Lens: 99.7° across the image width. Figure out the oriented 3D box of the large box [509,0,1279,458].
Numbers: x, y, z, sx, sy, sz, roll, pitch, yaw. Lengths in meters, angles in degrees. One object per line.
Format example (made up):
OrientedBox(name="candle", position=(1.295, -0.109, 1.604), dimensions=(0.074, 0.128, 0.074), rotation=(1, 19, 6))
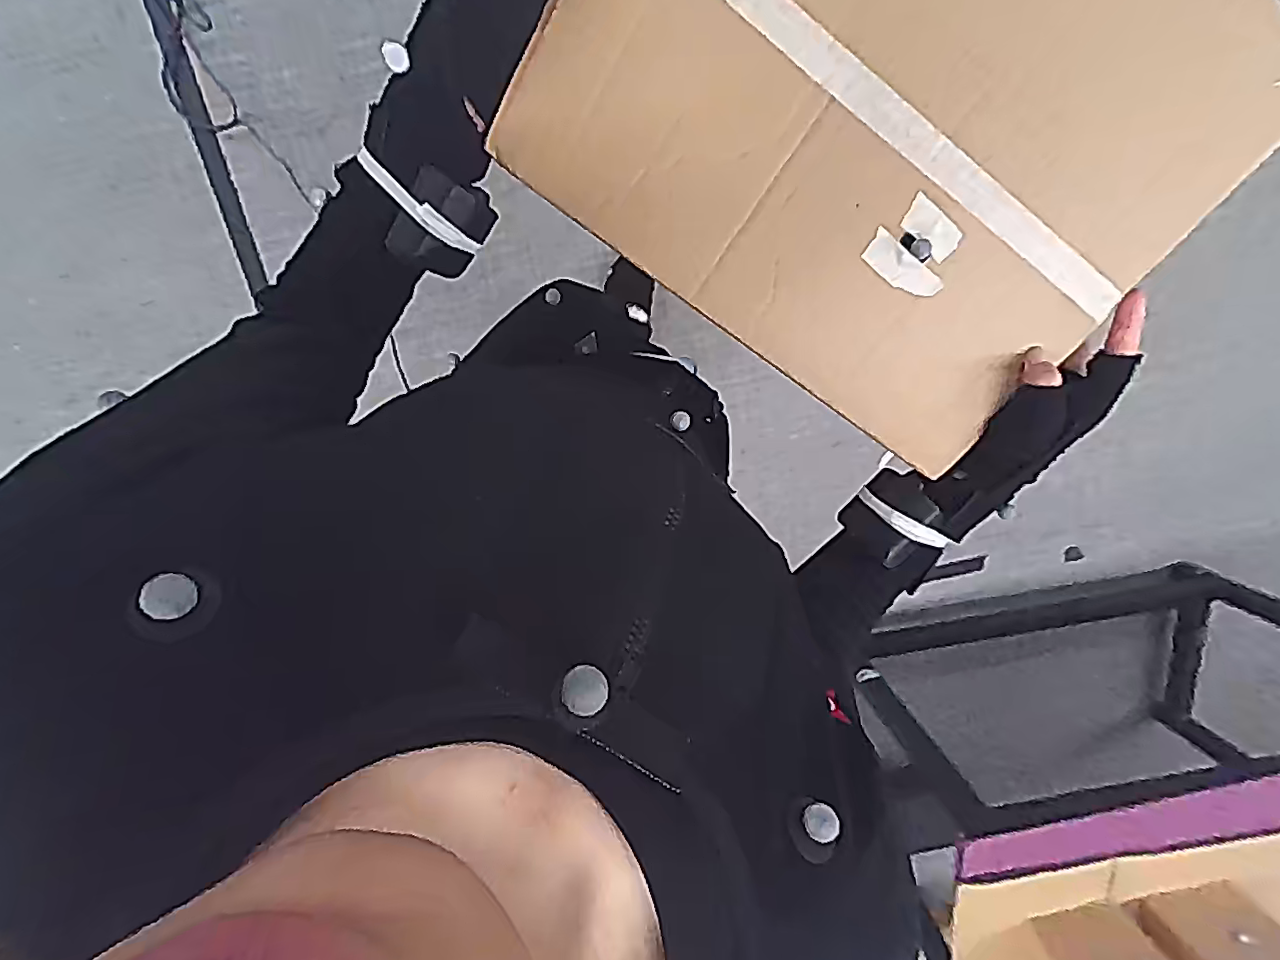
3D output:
OrientedBox(name="large box", position=(0.163, -0.292, 0.477), dimensions=(0.408, 0.320, 0.320), rotation=(33, 113, -12))
